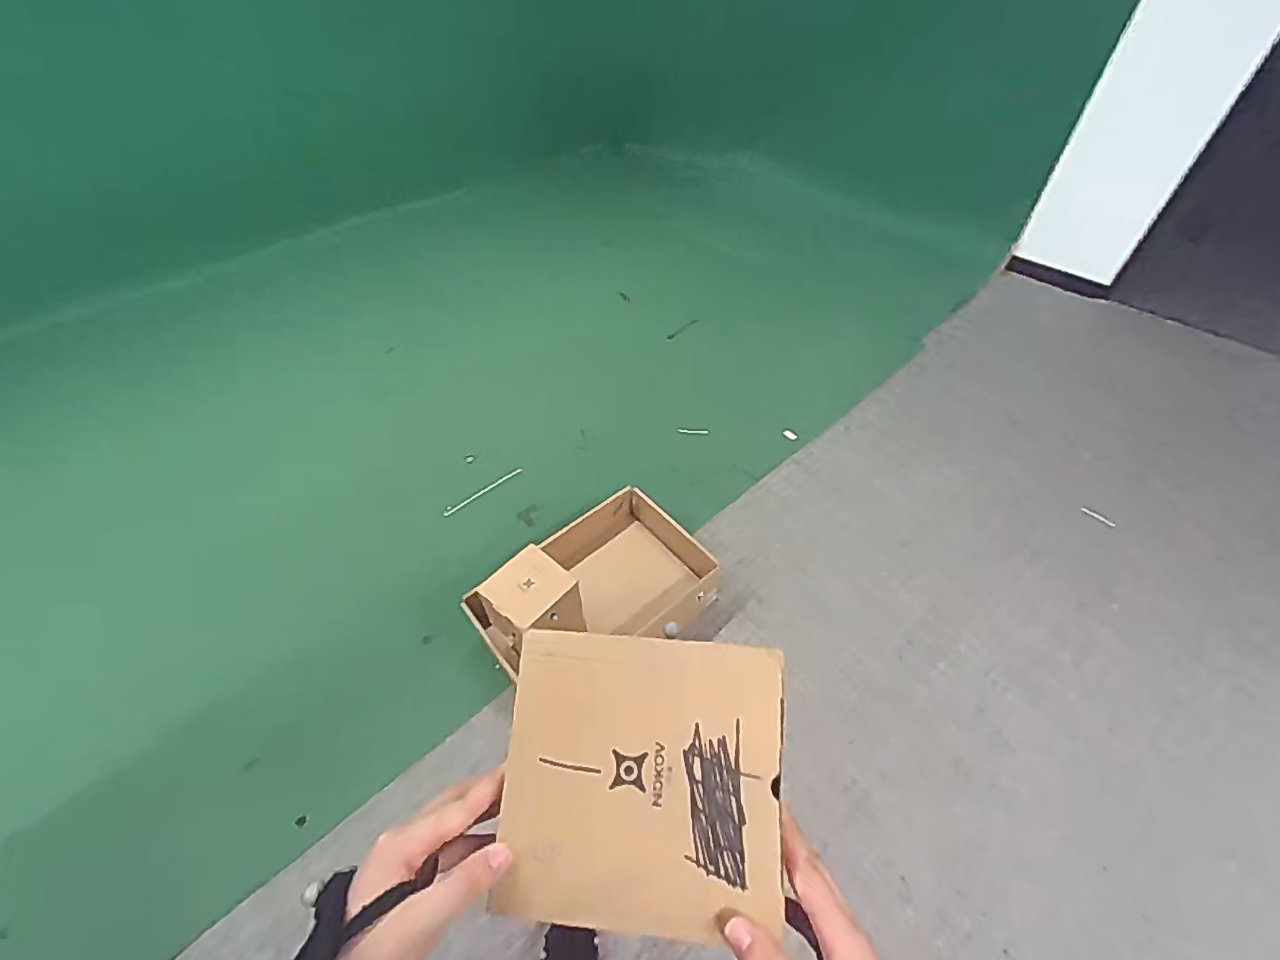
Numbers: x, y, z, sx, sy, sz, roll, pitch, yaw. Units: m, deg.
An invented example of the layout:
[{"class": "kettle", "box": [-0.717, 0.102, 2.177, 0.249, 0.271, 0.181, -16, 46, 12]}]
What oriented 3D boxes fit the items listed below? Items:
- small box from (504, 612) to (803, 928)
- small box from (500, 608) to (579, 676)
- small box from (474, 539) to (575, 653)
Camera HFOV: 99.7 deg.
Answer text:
[{"class": "small box", "box": [0.016, 0.196, 0.413, 0.179, 0.176, 0.168, 4, 72, 5]}, {"class": "small box", "box": [-0.266, 0.388, 1.441, 0.179, 0.176, 0.168, -33, 57, -24]}, {"class": "small box", "box": [-0.270, 0.284, 1.314, 0.168, 0.176, 0.179, 34, 55, 24]}]
